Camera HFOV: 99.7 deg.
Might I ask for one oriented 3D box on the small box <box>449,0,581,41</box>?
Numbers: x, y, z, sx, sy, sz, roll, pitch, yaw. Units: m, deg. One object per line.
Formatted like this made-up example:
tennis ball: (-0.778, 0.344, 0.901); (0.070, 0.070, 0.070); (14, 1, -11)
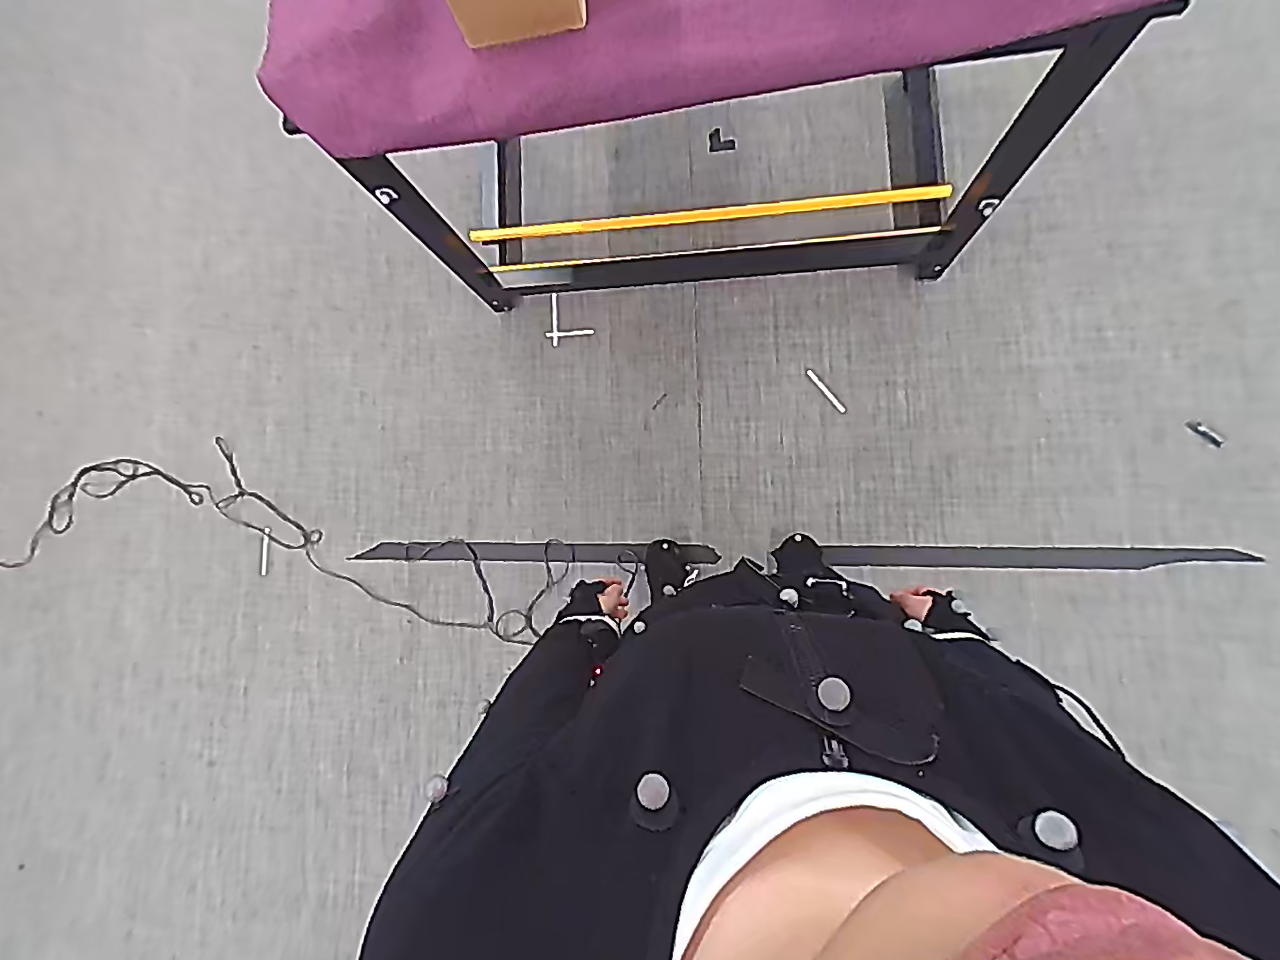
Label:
small box: (-0.174, -0.718, 0.693); (0.179, 0.176, 0.168); (-3, 84, 8)
